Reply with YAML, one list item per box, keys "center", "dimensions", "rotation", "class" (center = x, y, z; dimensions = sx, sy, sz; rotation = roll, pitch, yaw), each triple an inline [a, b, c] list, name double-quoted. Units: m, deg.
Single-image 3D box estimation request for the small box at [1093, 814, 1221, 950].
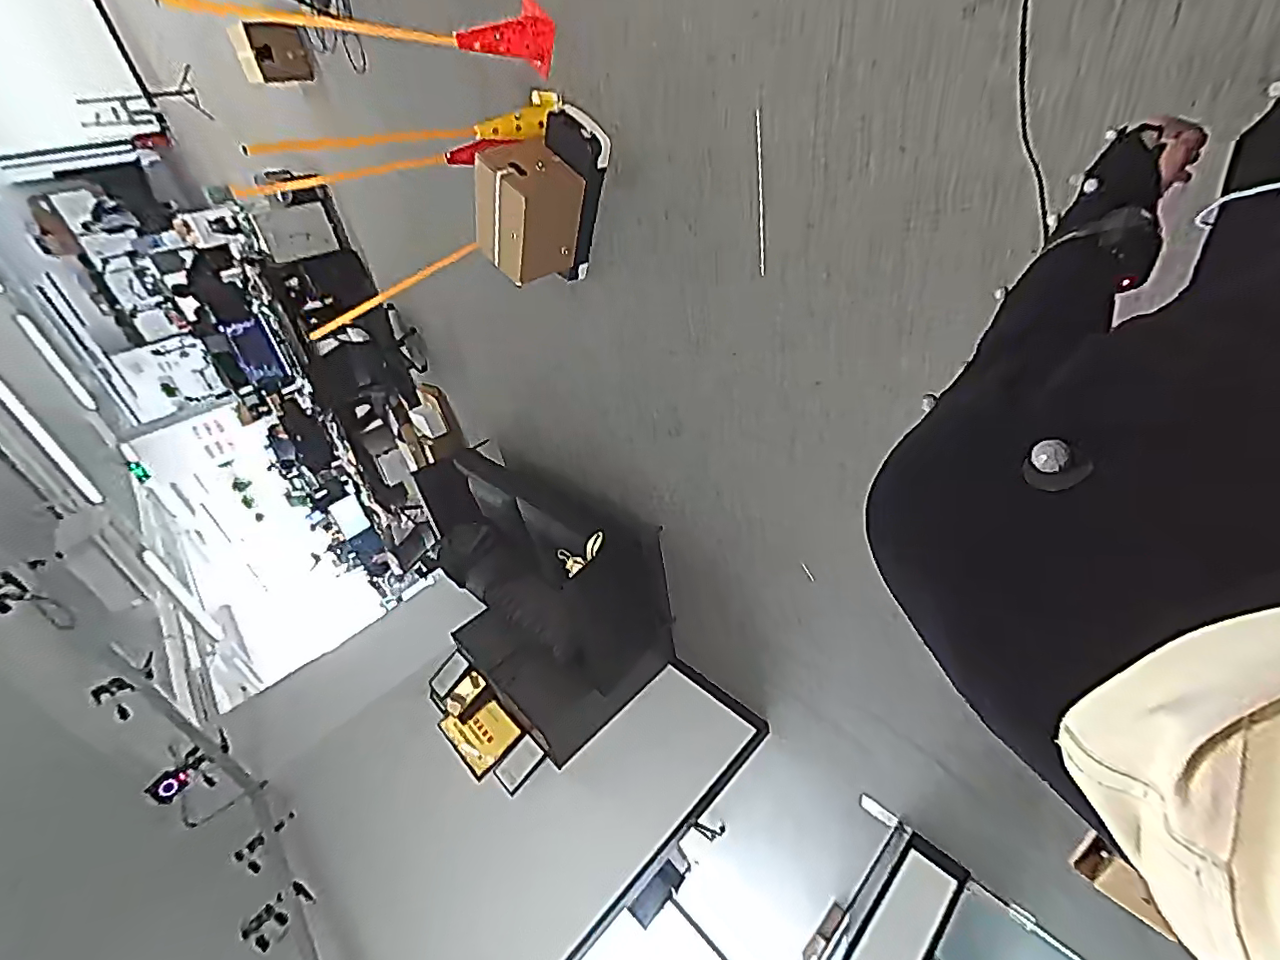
- center: [1.249, 0.965, 1.308]
  dimensions: [0.168, 0.176, 0.179]
  rotation: [28, 137, 40]
  class: "small box"
